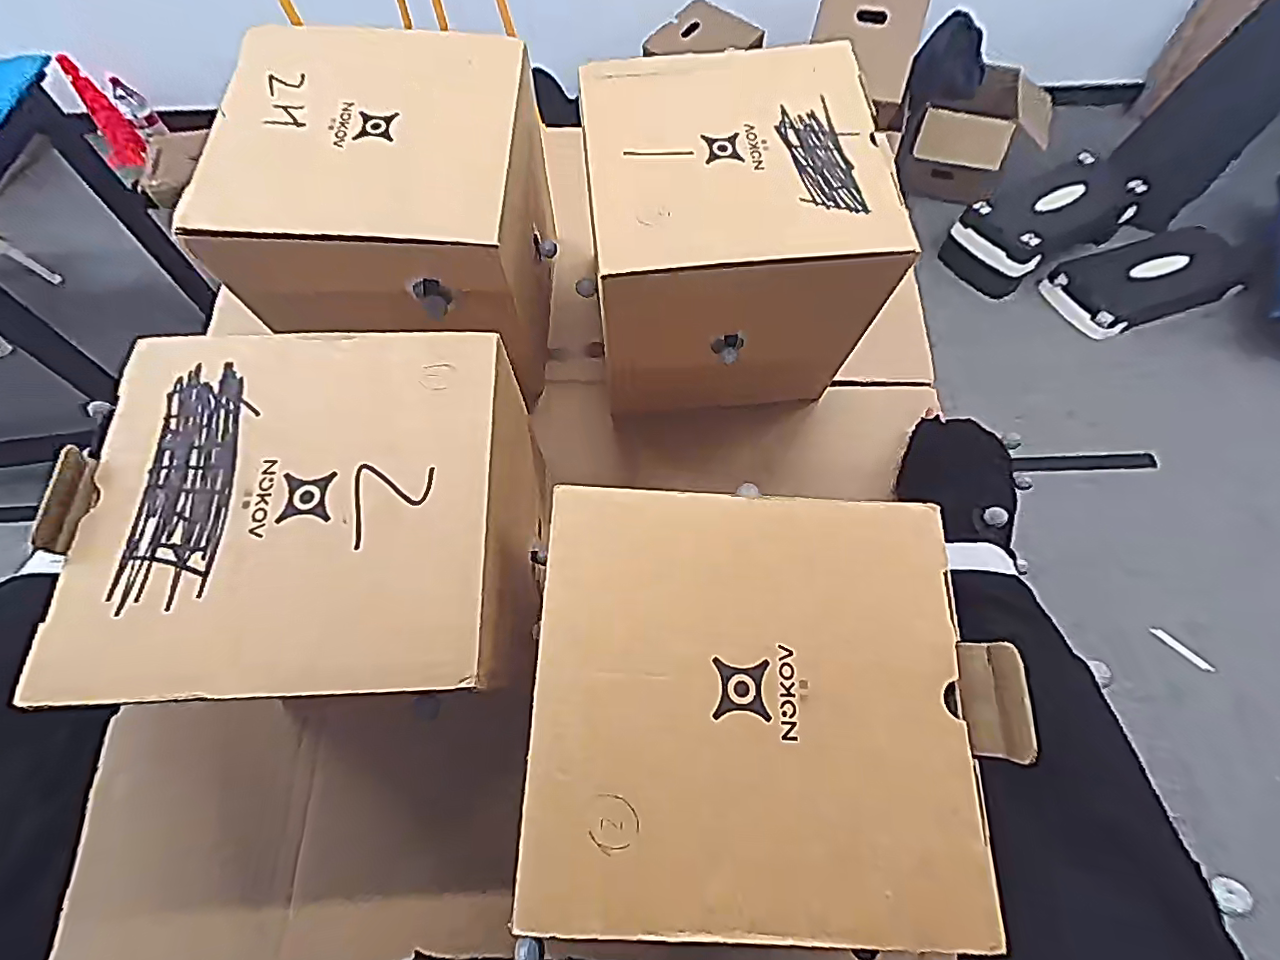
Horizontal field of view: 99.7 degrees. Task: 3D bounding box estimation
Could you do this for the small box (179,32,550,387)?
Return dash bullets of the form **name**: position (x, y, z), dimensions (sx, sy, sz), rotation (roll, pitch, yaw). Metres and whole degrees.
- **small box**: position (-0.167, -0.181, 0.400), dimensions (0.179, 0.176, 0.168), rotation (2, 70, 0)
